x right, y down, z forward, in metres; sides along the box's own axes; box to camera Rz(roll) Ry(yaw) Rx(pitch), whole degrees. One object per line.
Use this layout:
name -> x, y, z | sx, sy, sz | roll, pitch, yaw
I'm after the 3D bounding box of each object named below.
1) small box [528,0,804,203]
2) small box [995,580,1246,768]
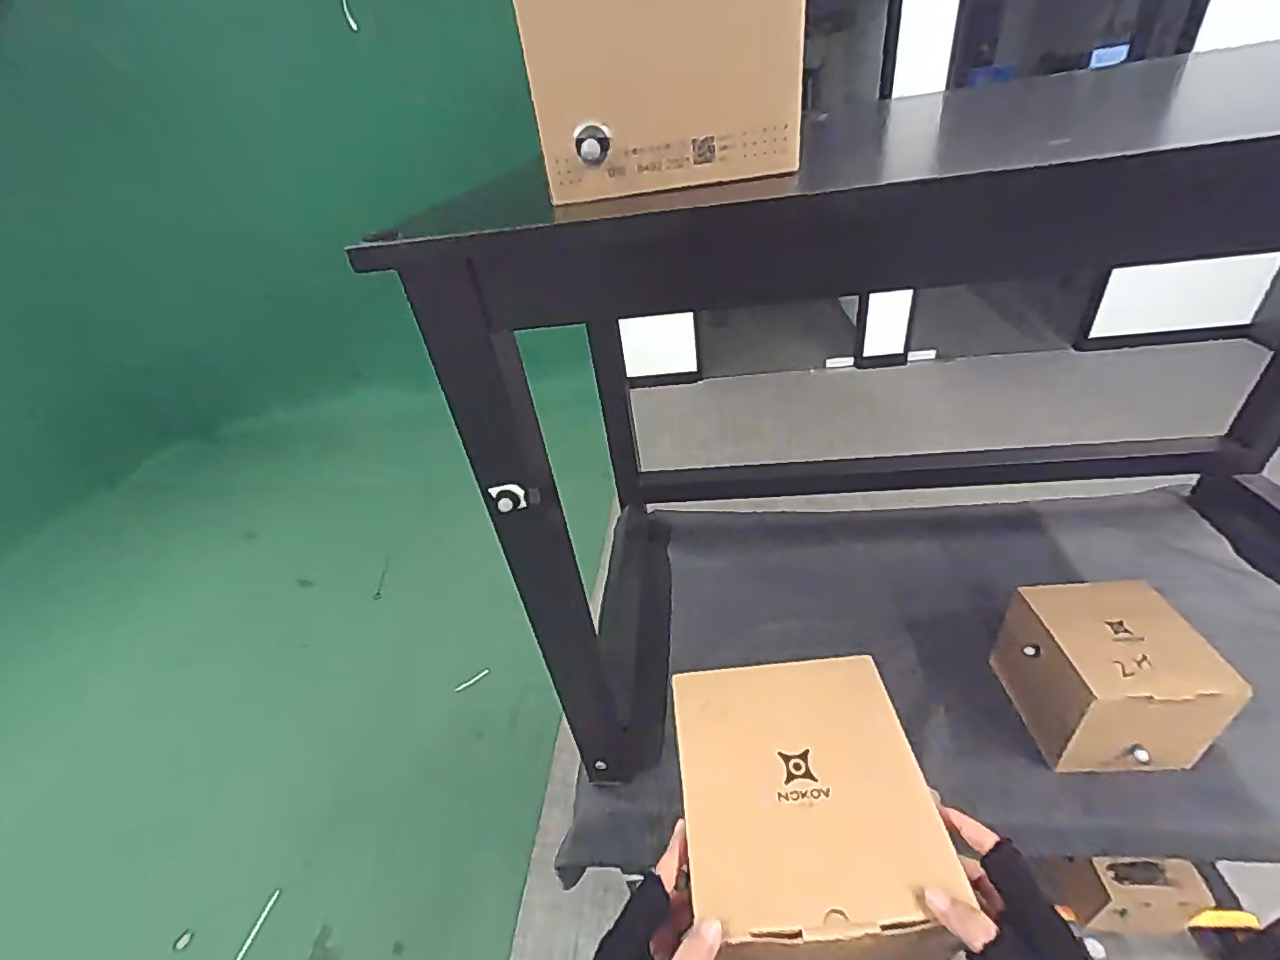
small box -> 0.020, -0.308, 0.391 | 0.168, 0.176, 0.179 | -6, 34, 4
small box -> 0.617, 0.259, 0.730 | 0.168, 0.176, 0.179 | -5, 34, 6
